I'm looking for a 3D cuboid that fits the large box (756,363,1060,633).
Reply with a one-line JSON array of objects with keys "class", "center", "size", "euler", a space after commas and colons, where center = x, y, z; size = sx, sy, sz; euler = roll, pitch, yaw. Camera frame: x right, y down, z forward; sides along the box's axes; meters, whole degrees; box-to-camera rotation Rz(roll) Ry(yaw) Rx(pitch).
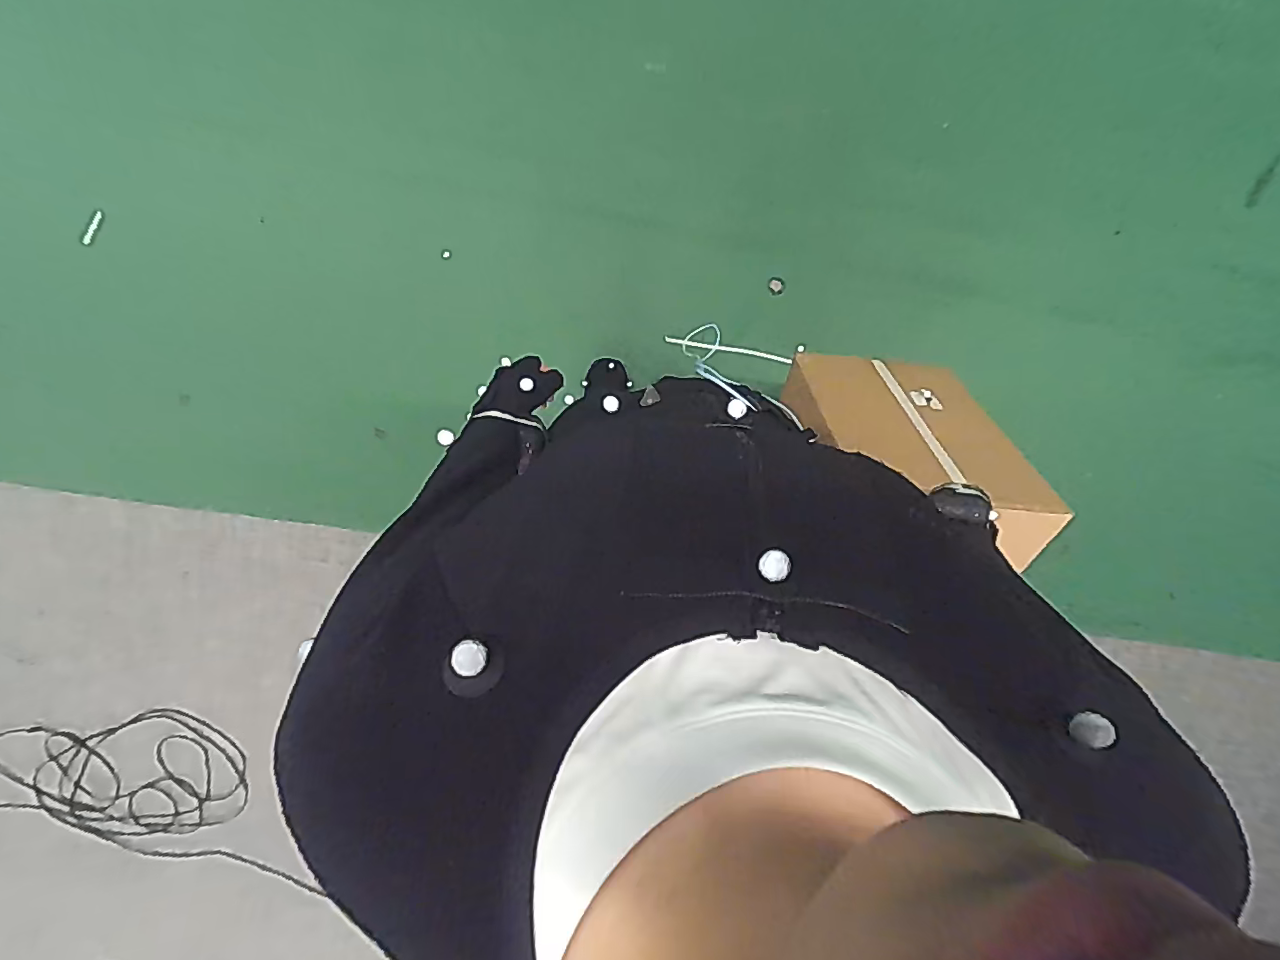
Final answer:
[{"class": "large box", "center": [0.430, 0.027, 0.999], "size": [0.320, 0.408, 0.320], "euler": [5, 130, -5]}]
